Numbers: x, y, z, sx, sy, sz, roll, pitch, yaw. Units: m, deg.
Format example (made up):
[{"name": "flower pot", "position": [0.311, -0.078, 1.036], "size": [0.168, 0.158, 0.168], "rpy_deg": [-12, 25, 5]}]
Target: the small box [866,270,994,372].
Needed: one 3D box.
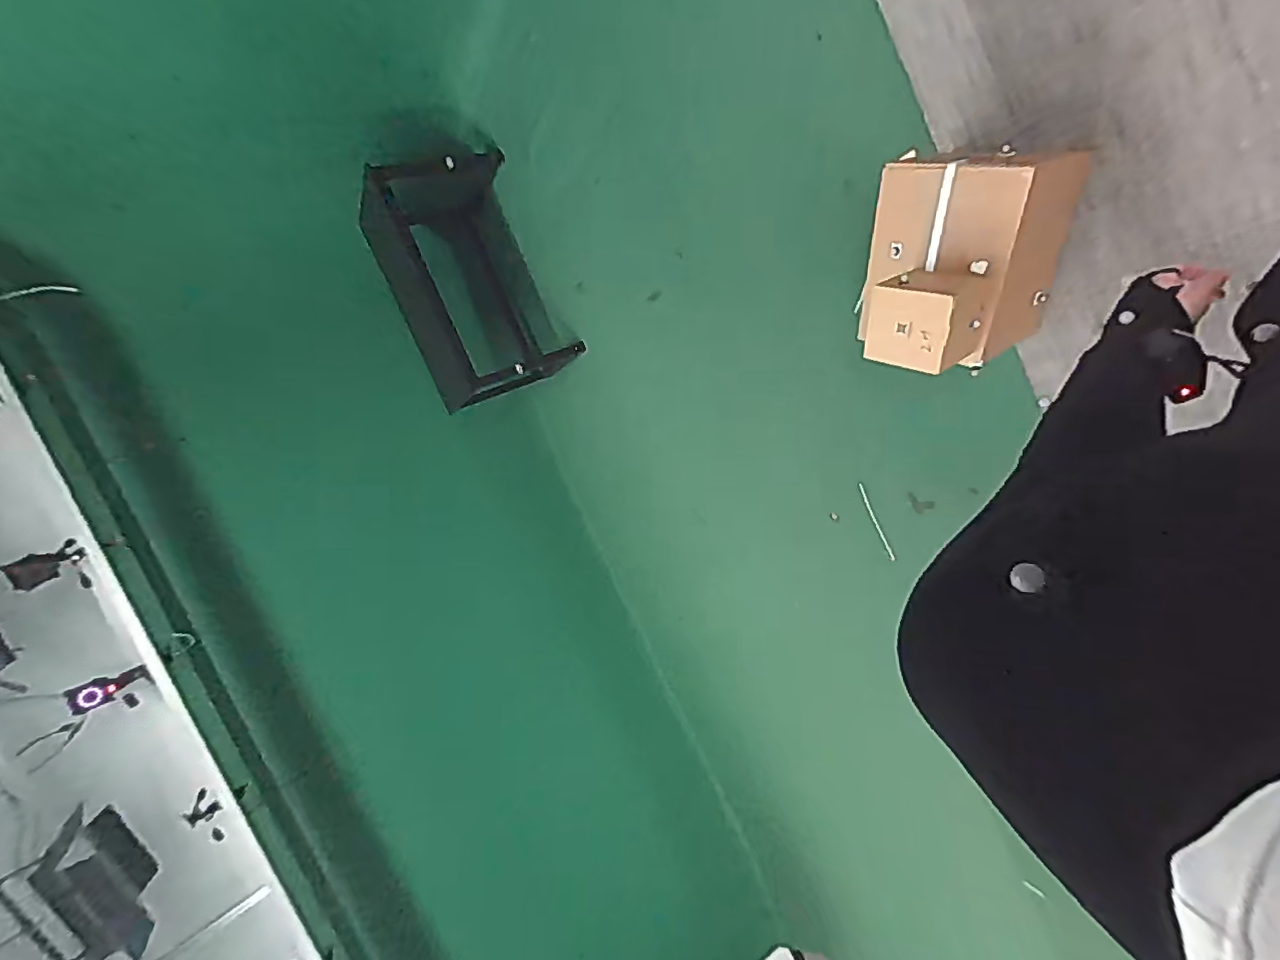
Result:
[{"name": "small box", "position": [0.631, -0.355, 1.185], "size": [0.179, 0.176, 0.168], "rpy_deg": [29, 137, 42]}]
